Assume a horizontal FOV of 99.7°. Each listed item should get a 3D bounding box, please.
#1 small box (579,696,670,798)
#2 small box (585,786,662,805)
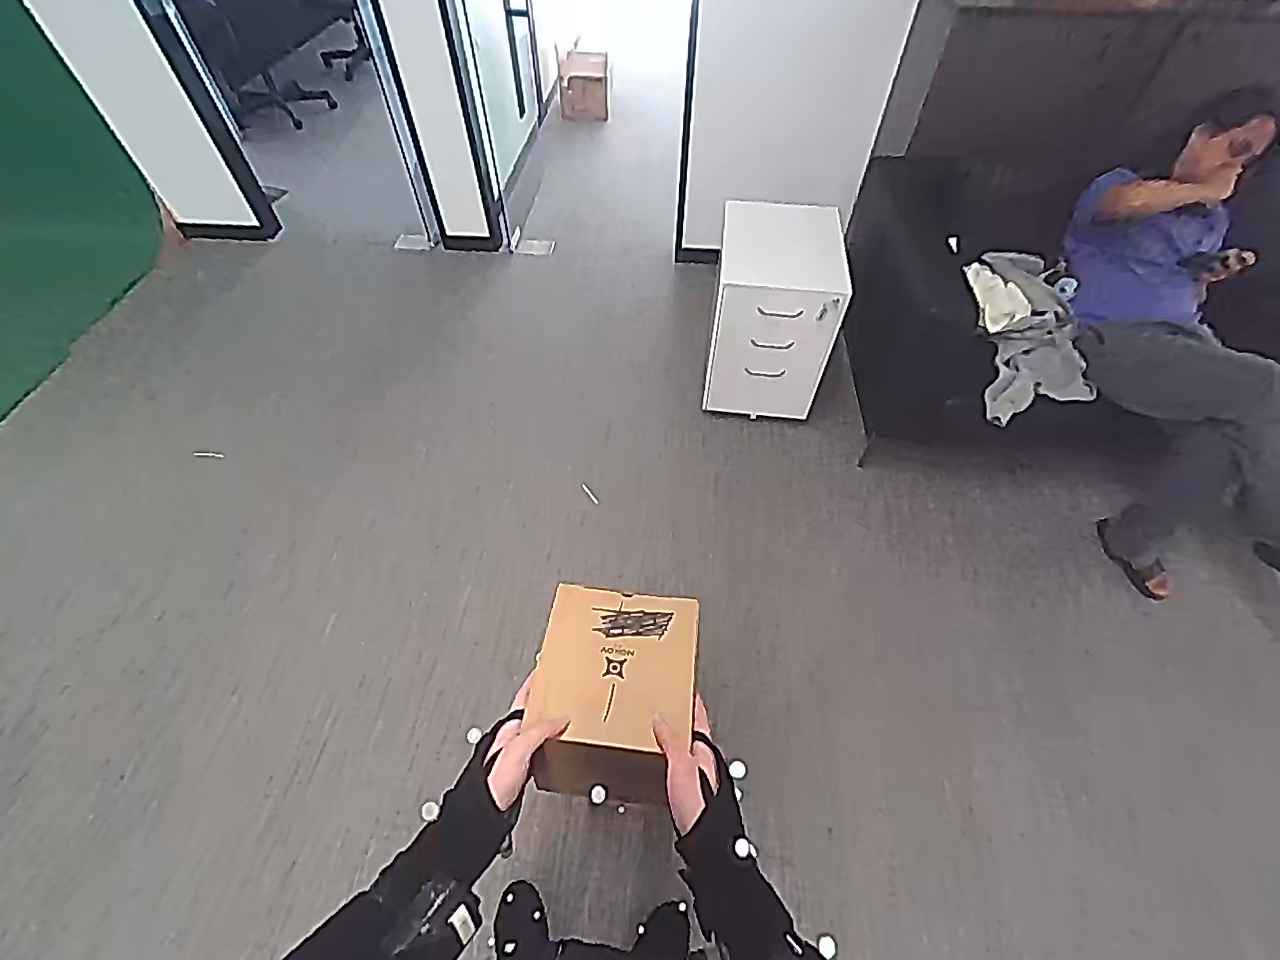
[{"bbox_3d":[-0.031,0.592,1.194,0.179,0.176,0.168,5,53,2],"label":"small box"},{"bbox_3d":[-0.034,0.689,1.326,0.179,0.176,0.168,5,53,2],"label":"small box"}]
